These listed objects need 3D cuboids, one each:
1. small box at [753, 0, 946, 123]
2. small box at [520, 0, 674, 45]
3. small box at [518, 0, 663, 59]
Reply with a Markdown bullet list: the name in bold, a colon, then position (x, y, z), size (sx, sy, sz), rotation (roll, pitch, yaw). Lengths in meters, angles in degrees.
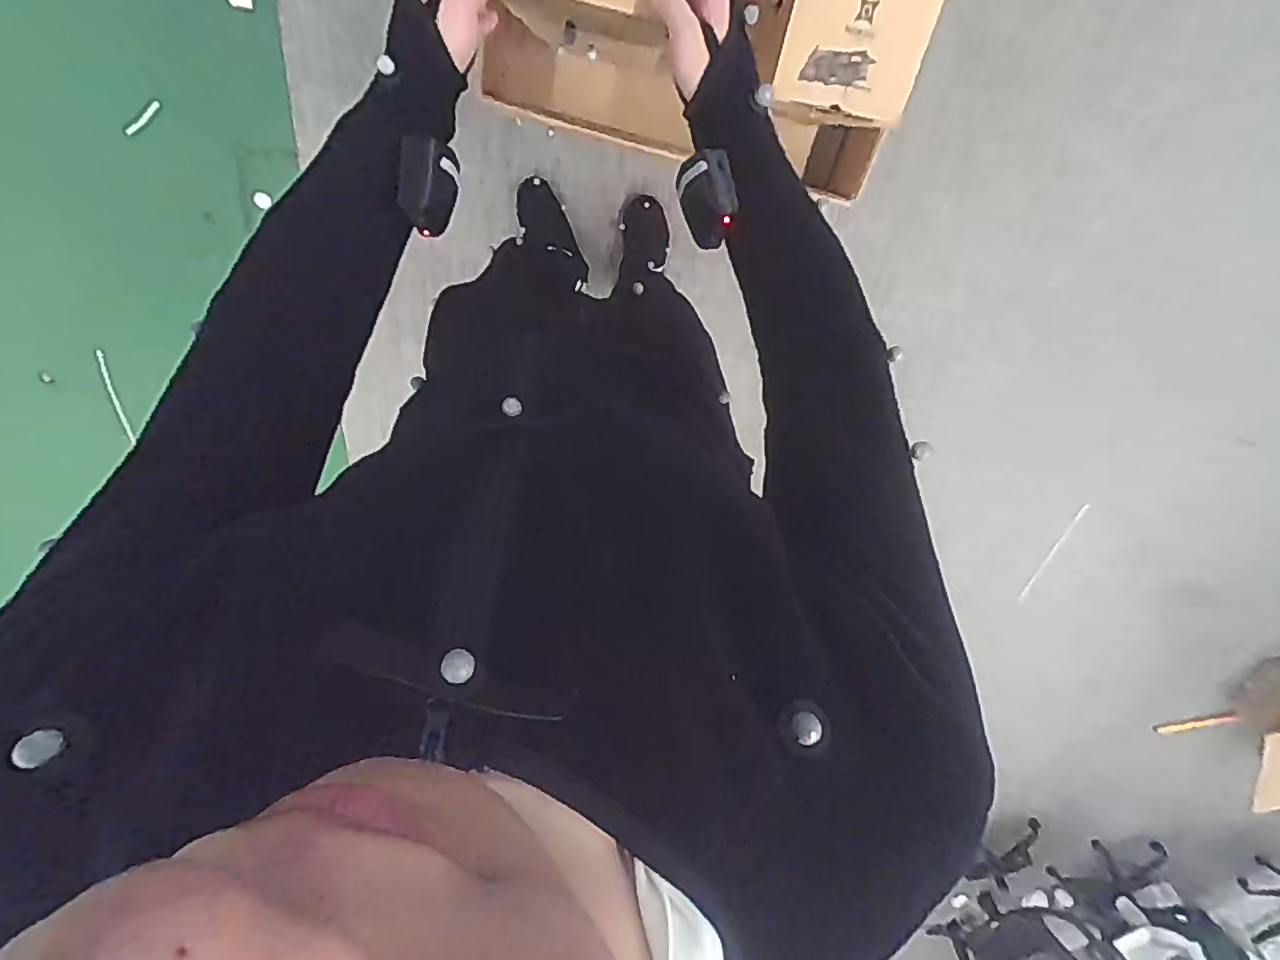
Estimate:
- **small box**: position (0.248, -0.557, 0.663), size (0.168, 0.176, 0.179), rotation (8, 122, -7)
- **small box**: position (-0.036, -0.526, 0.482), size (0.168, 0.176, 0.179), rotation (10, 122, -6)
- **small box**: position (-0.040, -0.616, 0.618), size (0.168, 0.176, 0.179), rotation (9, 122, -6)
